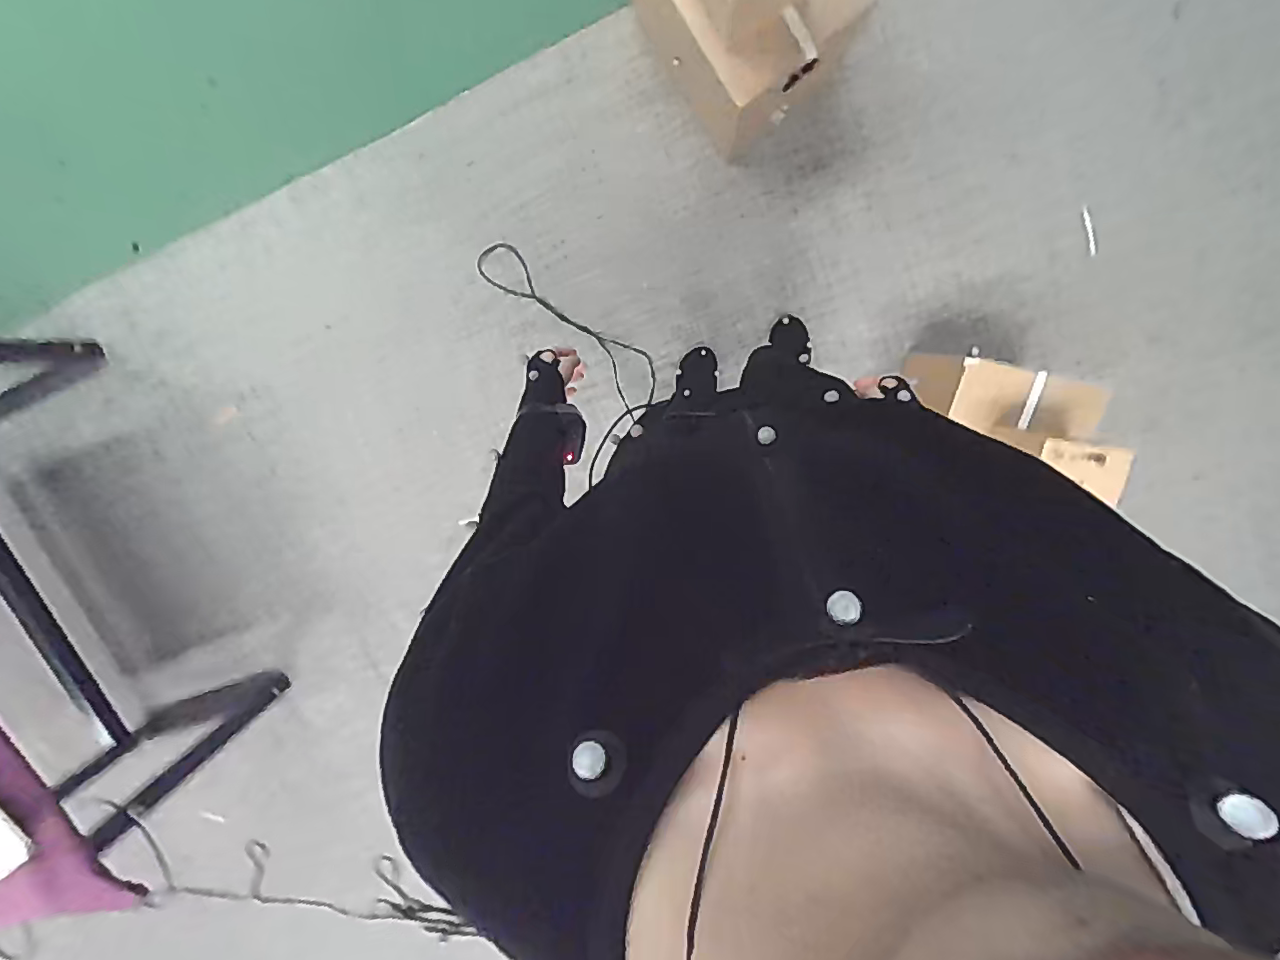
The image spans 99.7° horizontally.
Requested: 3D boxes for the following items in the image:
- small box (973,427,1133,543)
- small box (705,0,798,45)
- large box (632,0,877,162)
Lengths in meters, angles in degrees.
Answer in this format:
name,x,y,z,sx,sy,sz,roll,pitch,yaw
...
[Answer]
name,x,y,z,sx,sy,sz,roll,pitch,yaw
small box,0.802,0.003,1.075,0.168,0.176,0.179,9,105,-1
small box,0.186,-0.884,0.895,0.179,0.176,0.168,-29,101,10
large box,0.211,-0.980,1.123,0.320,0.320,0.408,-34,98,9
